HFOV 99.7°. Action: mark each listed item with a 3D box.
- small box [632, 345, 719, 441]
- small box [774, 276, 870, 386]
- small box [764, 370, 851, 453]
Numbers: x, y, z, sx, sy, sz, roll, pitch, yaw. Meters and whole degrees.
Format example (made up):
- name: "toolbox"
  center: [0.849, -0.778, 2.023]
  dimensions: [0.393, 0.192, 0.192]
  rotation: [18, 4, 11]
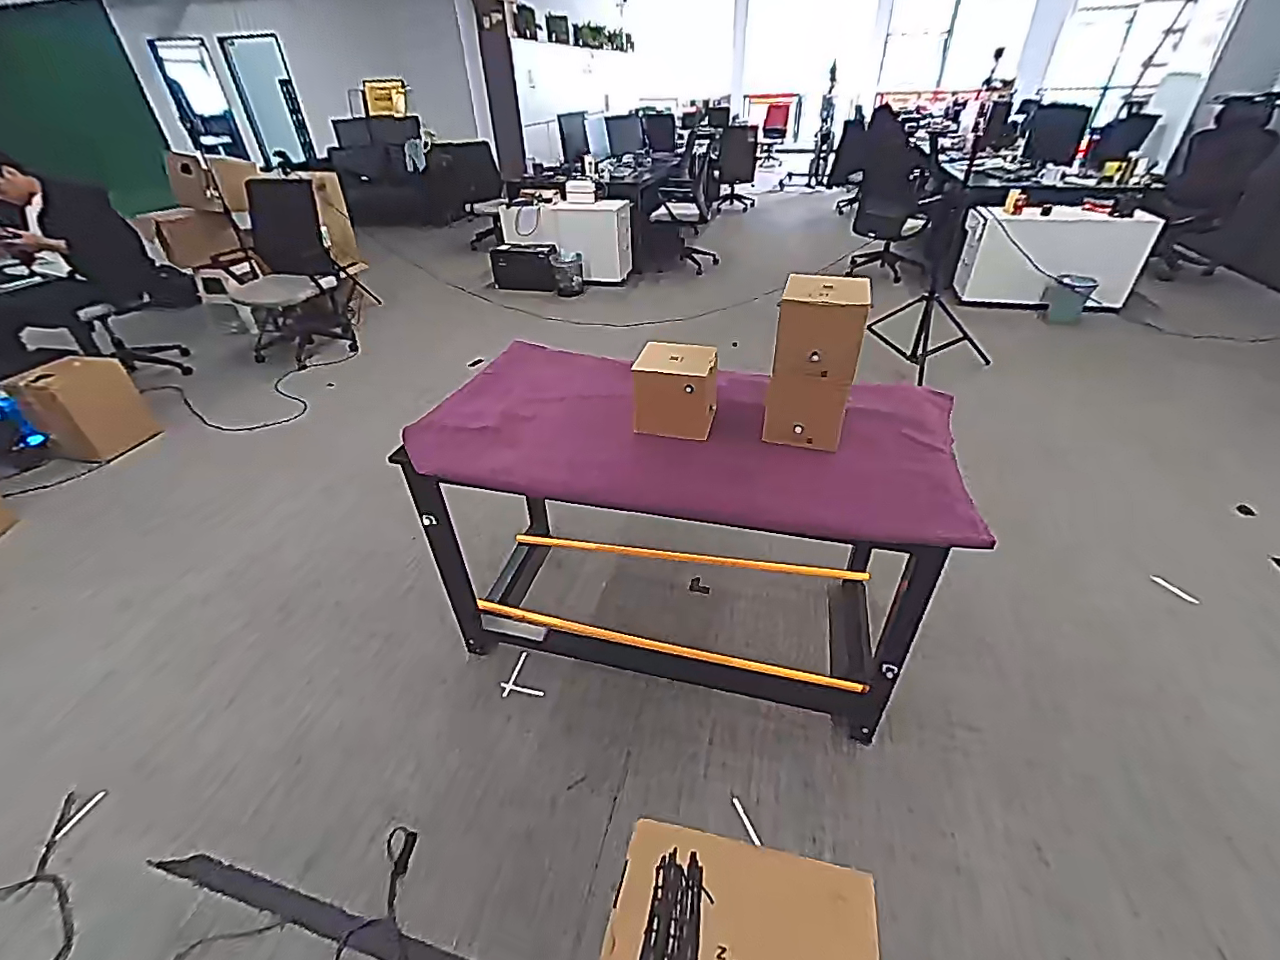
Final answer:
- name: "small box"
  center: [0.086, -0.208, 1.292]
  dimensions: [0.179, 0.176, 0.168]
  rotation: [8, 37, 13]
- name: "small box"
  center: [0.382, -0.318, 1.143]
  dimensions: [0.168, 0.176, 0.179]
  rotation: [9, 38, 16]
- name: "small box"
  center: [0.384, -0.186, 1.242]
  dimensions: [0.168, 0.176, 0.179]
  rotation: [10, 38, 16]
